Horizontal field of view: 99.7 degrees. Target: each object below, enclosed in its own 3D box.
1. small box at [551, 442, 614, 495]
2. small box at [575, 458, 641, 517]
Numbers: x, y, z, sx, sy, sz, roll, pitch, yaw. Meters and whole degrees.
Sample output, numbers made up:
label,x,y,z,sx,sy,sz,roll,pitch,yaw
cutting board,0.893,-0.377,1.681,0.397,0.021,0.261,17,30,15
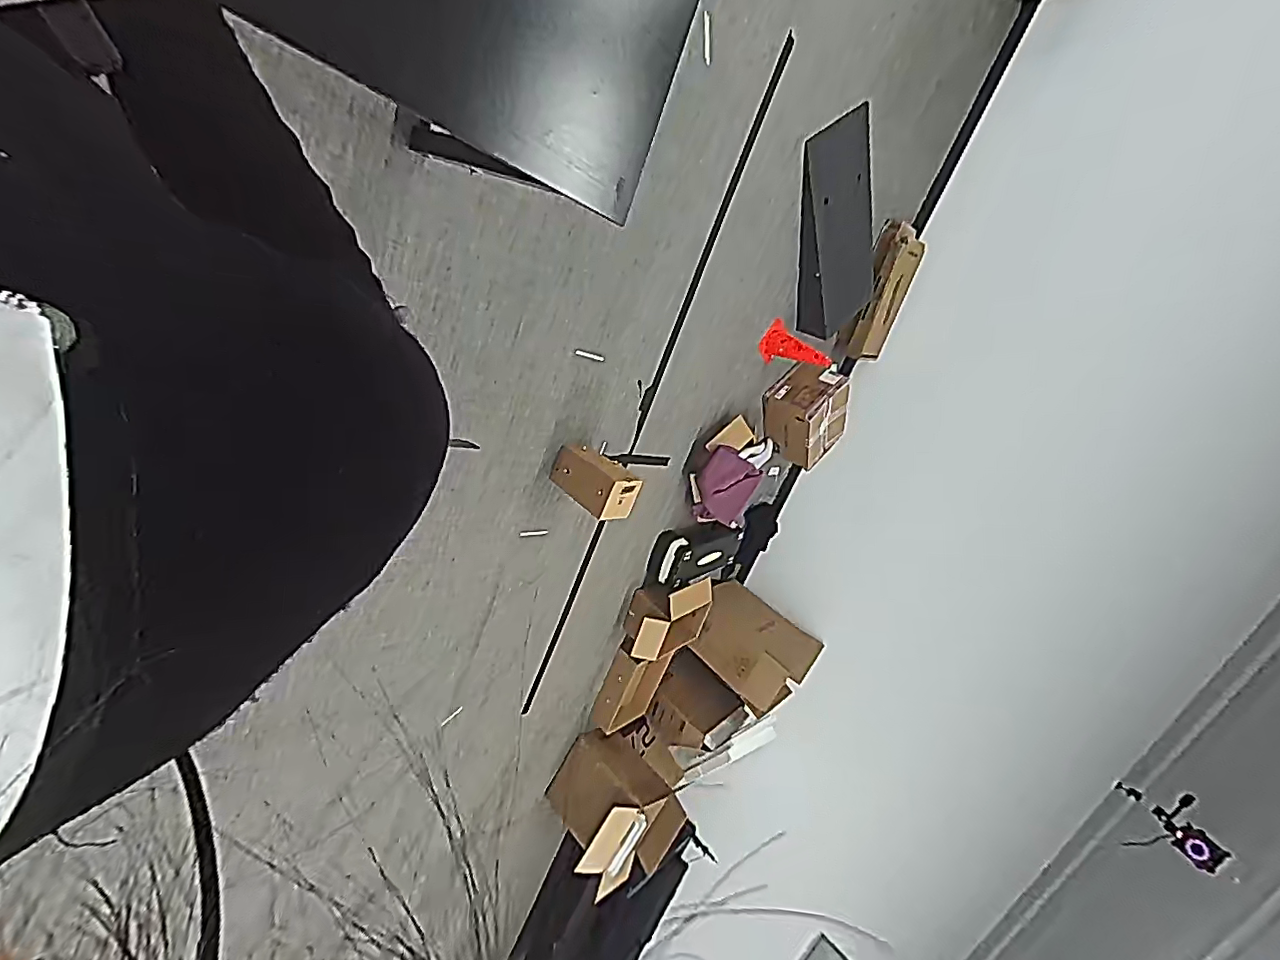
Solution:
label,x,y,z,sx,sy,sz,roll,pitch,yaw
small box,-0.238,-0.045,2.233,0.179,0.176,0.168,3,116,-51
small box,-0.130,0.026,2.127,0.168,0.176,0.179,-1,120,-51
